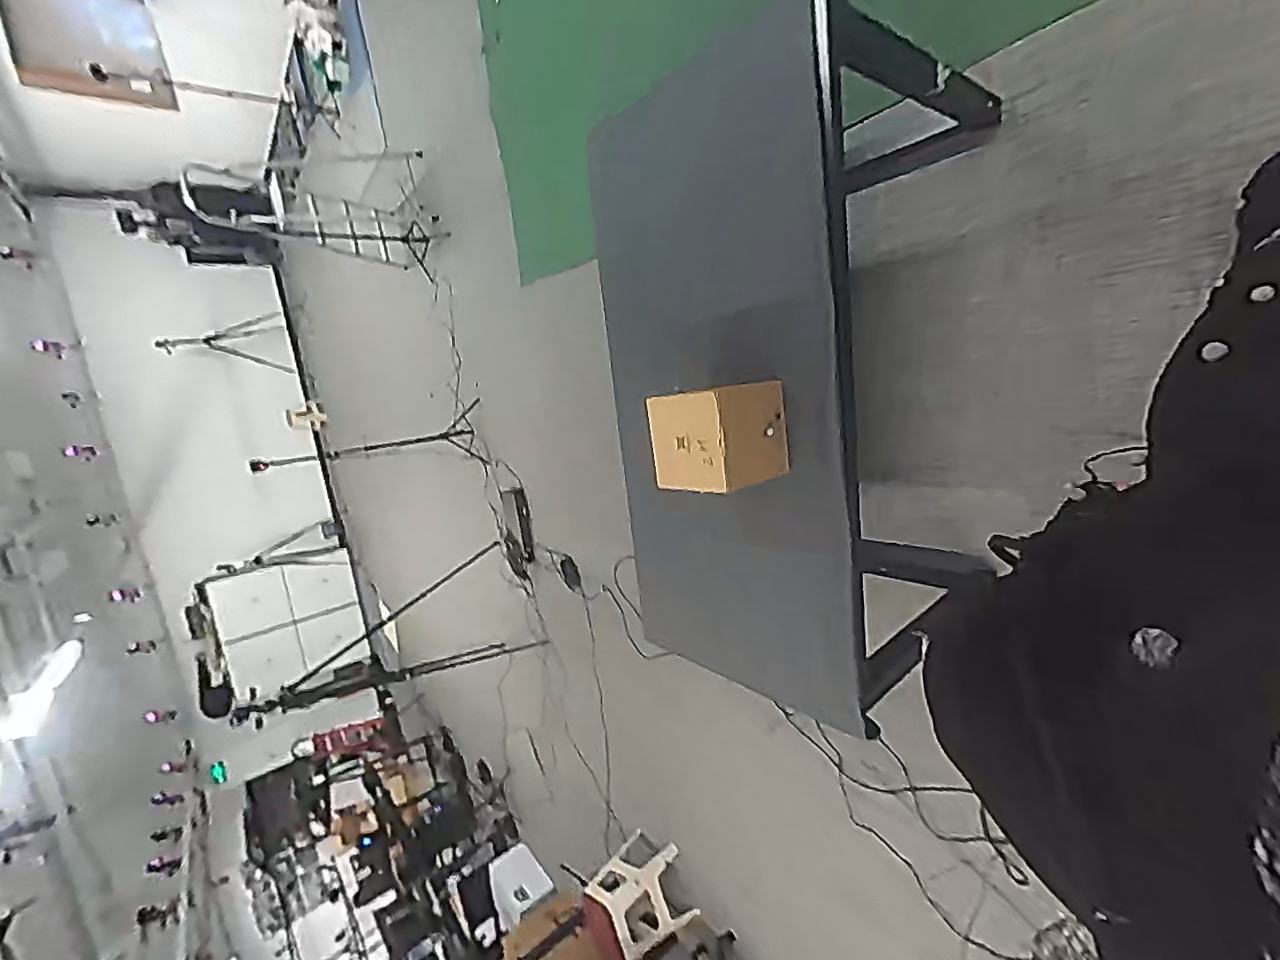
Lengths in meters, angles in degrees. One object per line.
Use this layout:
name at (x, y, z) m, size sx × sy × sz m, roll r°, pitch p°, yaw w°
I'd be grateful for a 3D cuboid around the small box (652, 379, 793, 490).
small box at (0.146, -0.084, 0.965) m, size 0.179 × 0.176 × 0.168 m, roll 3°, pitch 105°, yaw 52°
